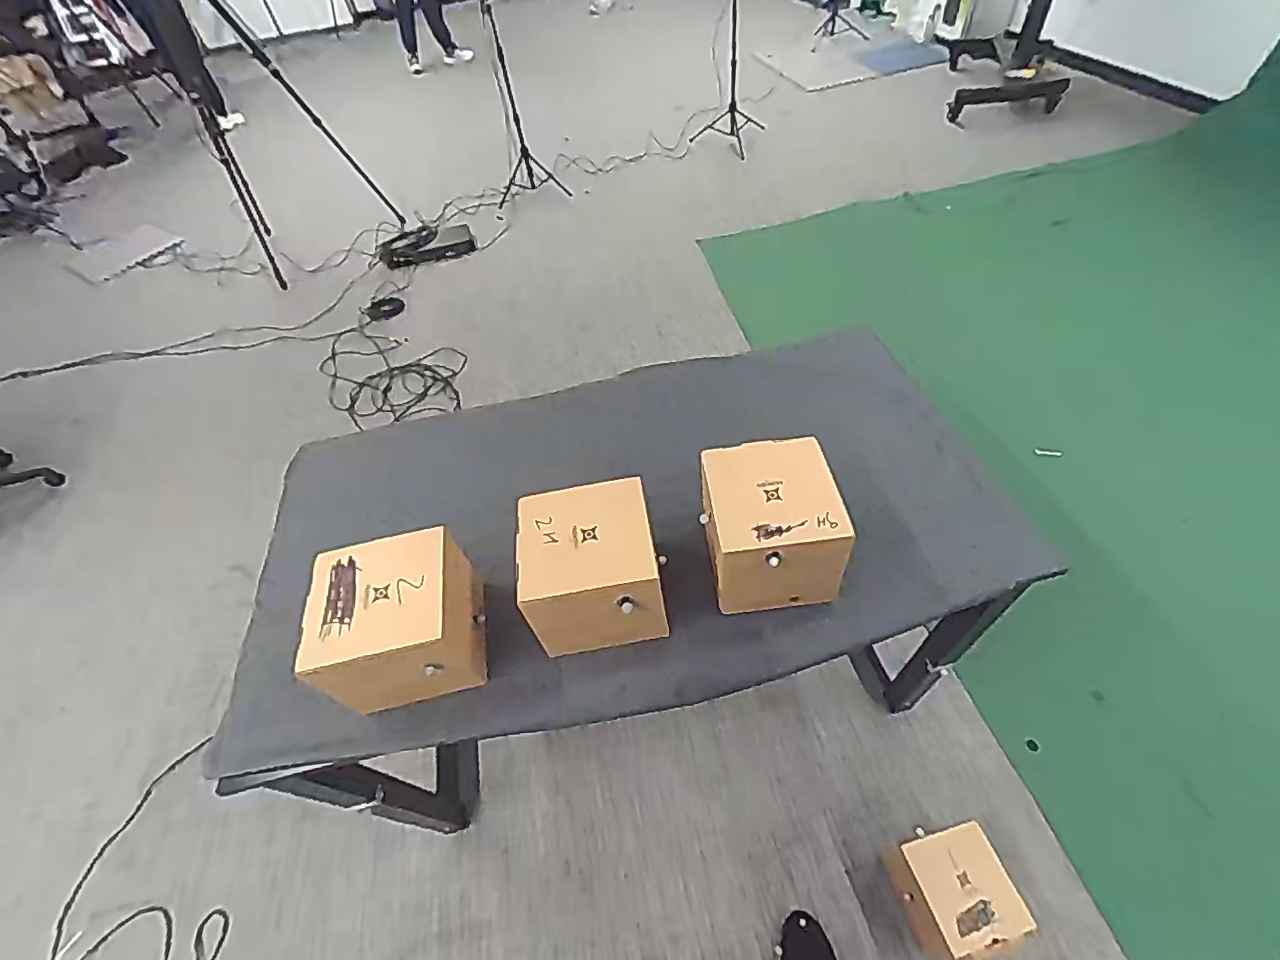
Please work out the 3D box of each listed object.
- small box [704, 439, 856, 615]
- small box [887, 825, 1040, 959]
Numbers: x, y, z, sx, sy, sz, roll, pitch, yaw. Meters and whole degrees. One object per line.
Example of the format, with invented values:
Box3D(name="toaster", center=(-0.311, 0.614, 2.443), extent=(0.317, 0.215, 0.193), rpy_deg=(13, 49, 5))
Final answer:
Box3D(name="small box", center=(0.184, 0.069, 0.767), extent=(0.168, 0.176, 0.179), rpy_deg=(-8, 49, 3))
Box3D(name="small box", center=(0.617, 0.805, 1.057), extent=(0.168, 0.176, 0.179), rpy_deg=(-15, 51, -4))
